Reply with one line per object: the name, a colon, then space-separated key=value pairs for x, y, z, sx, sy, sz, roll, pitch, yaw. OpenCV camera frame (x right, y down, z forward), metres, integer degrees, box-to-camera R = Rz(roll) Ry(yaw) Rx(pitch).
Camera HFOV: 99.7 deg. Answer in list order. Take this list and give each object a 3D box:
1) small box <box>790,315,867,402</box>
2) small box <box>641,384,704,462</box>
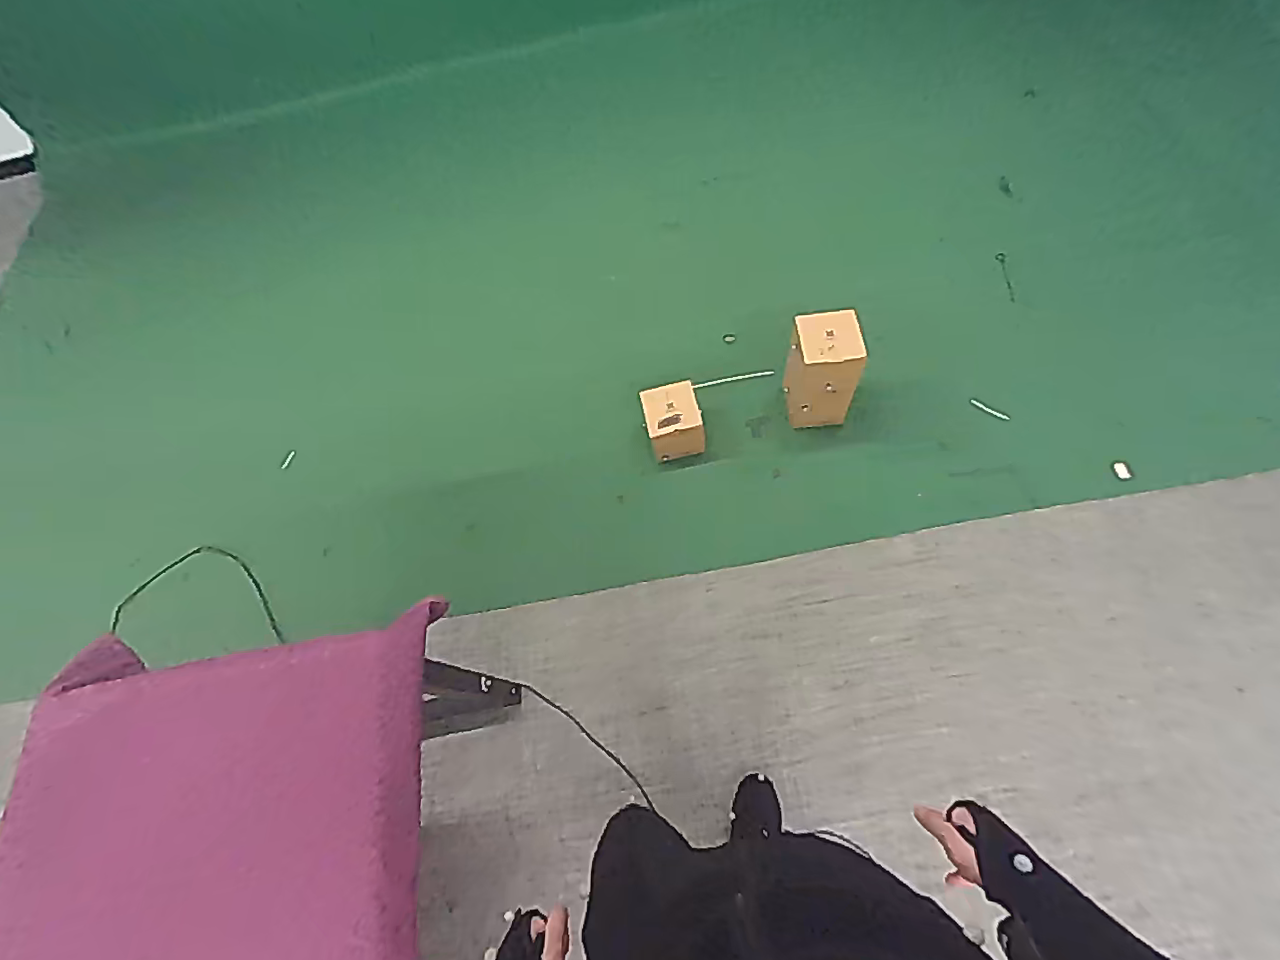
small box: x=0.538 y=-0.349 z=1.568 sx=0.168 sy=0.176 sz=0.179 roll=-5 pitch=63 yaw=6
small box: x=0.108 y=-0.173 z=1.730 sx=0.168 sy=0.176 sz=0.179 roll=-13 pitch=62 yaw=2
